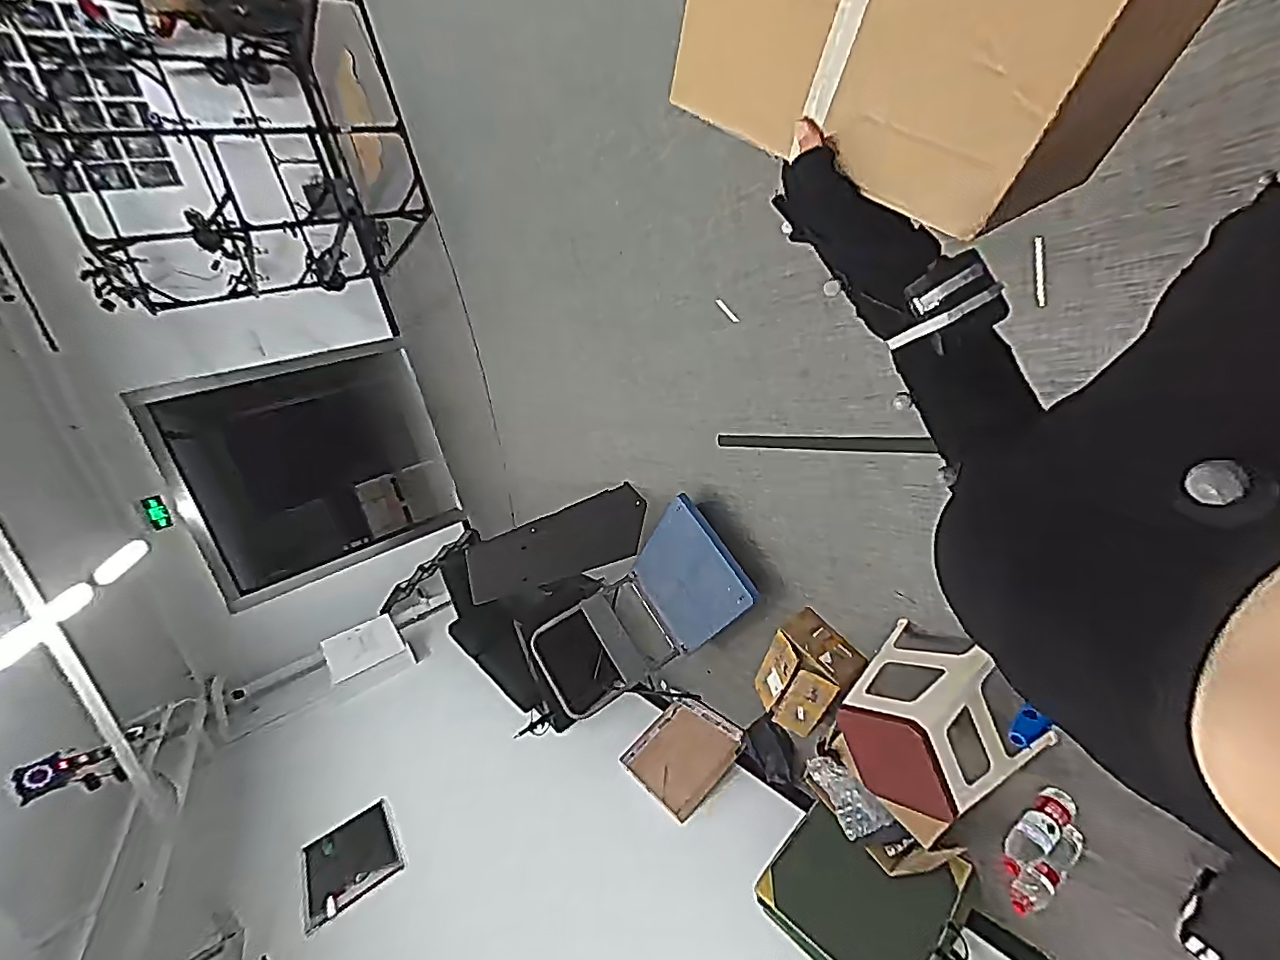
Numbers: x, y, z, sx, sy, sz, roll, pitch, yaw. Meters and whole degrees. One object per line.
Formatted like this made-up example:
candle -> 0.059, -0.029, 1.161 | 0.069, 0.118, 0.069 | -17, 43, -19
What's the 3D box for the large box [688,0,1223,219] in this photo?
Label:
large box -> 0.284, -0.470, 0.392 | 0.320, 0.320, 0.408 | 43, 143, 24
